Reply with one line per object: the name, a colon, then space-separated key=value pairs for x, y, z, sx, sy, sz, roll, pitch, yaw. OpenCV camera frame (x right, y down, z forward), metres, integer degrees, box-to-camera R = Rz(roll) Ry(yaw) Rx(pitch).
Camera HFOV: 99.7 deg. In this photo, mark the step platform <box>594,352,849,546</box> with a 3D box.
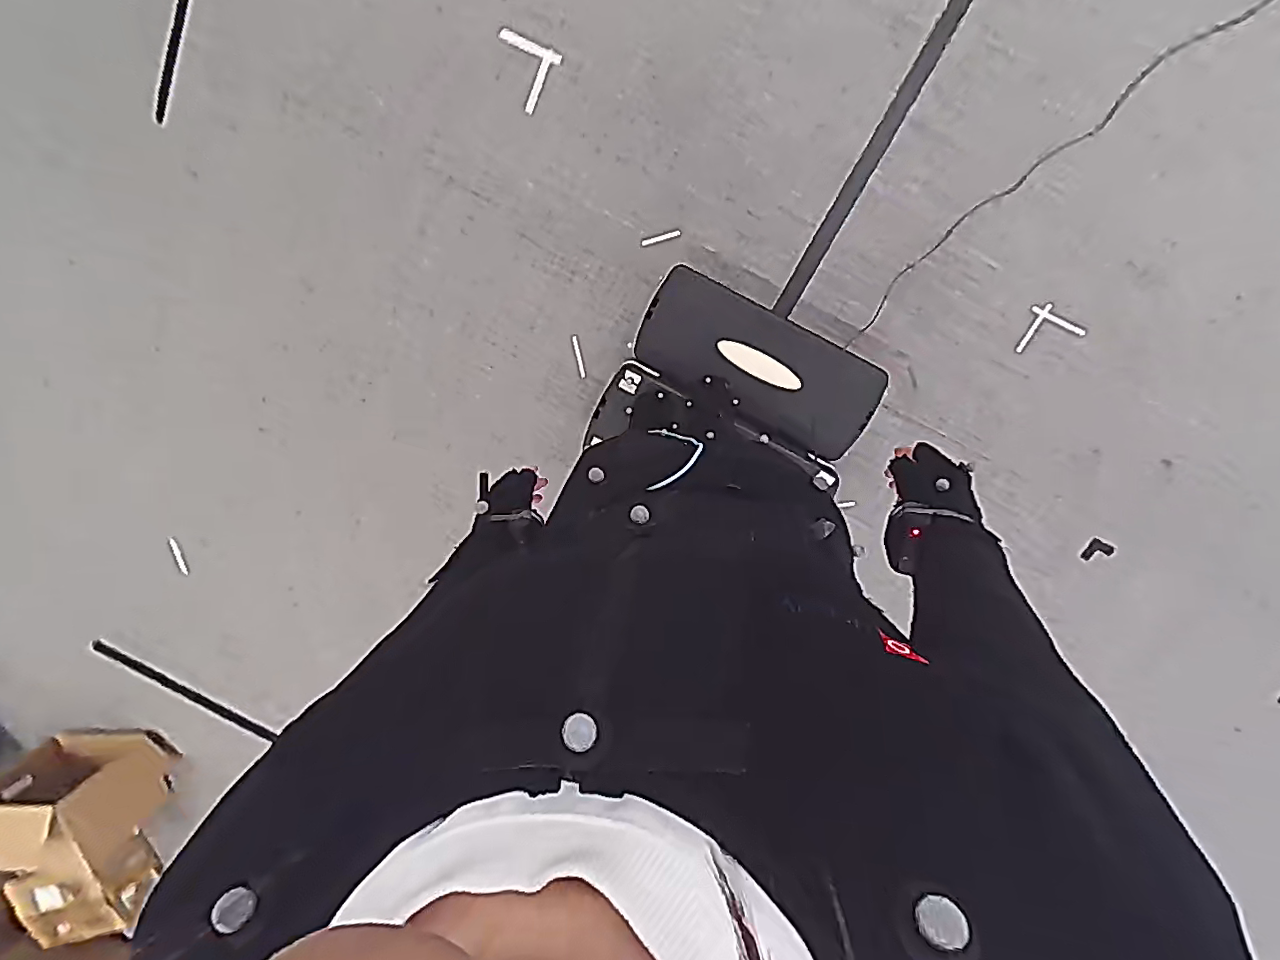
step platform: x=0.217 y=-0.088 z=1.502 sx=0.684 sy=0.204 sz=0.286 roll=27 pitch=104 yaw=1
